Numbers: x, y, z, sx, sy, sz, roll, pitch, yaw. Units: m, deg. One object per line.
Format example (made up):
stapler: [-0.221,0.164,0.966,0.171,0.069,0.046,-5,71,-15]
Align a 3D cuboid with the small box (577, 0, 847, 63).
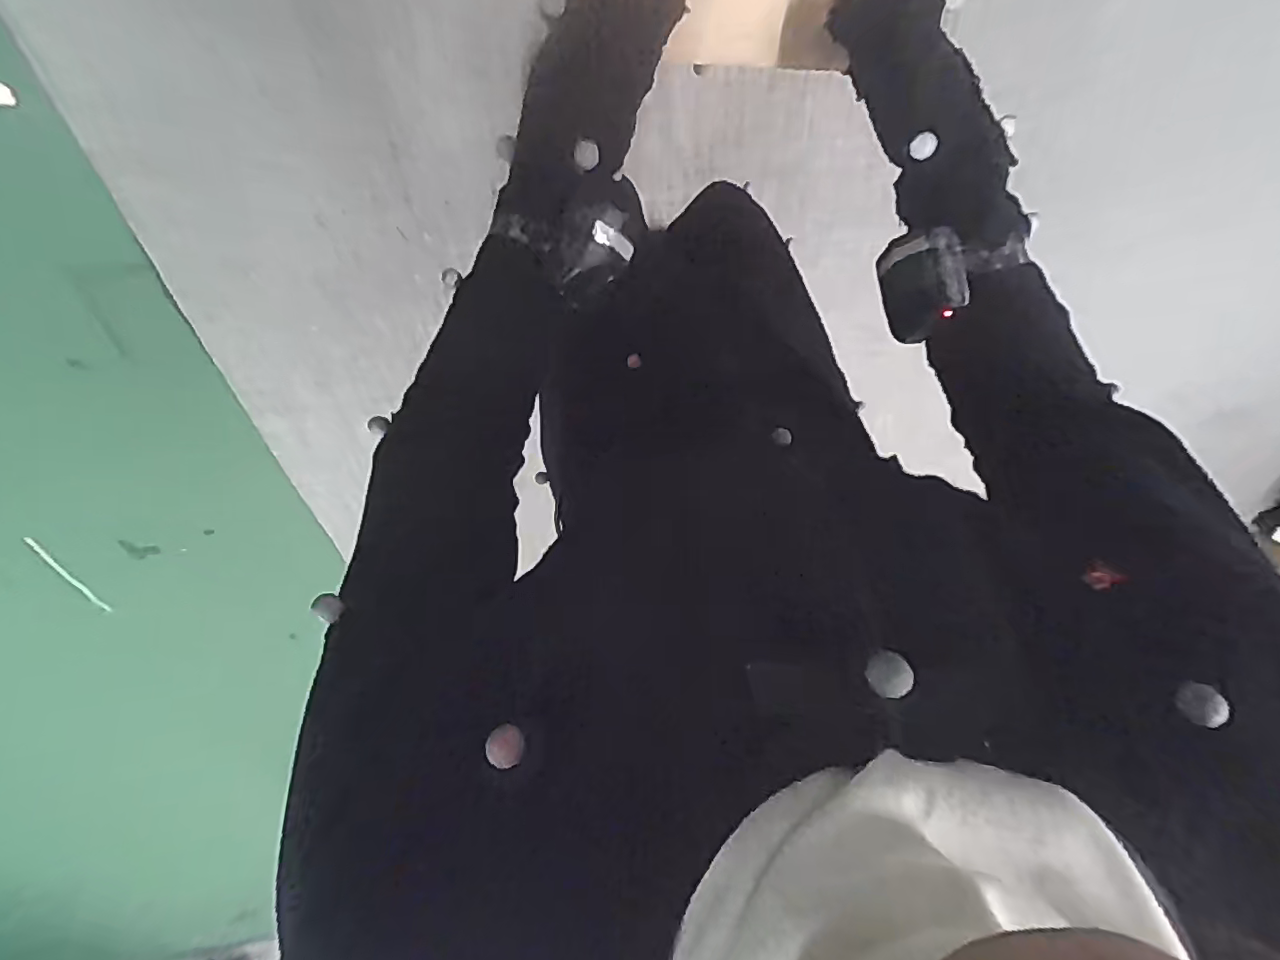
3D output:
small box: [0.049,-0.422,0.383,0.179,0.176,0.168,-8,140,-16]
